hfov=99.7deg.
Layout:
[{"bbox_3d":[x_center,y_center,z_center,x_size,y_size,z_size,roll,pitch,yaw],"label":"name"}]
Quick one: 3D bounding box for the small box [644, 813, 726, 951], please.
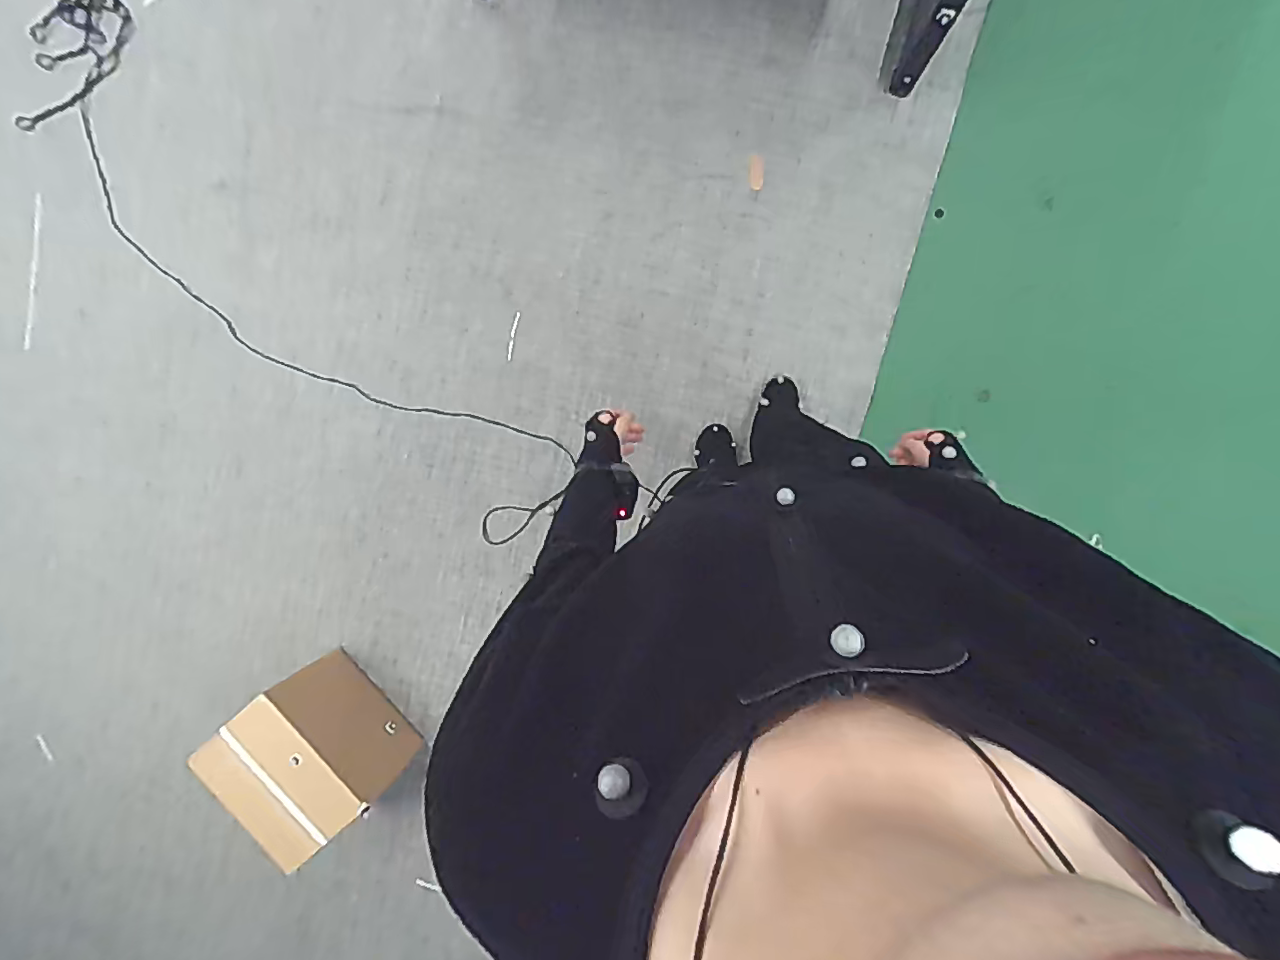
[{"bbox_3d":[0.098,0.866,1.181,0.168,0.176,0.179,2,94,6],"label":"small box"}]
